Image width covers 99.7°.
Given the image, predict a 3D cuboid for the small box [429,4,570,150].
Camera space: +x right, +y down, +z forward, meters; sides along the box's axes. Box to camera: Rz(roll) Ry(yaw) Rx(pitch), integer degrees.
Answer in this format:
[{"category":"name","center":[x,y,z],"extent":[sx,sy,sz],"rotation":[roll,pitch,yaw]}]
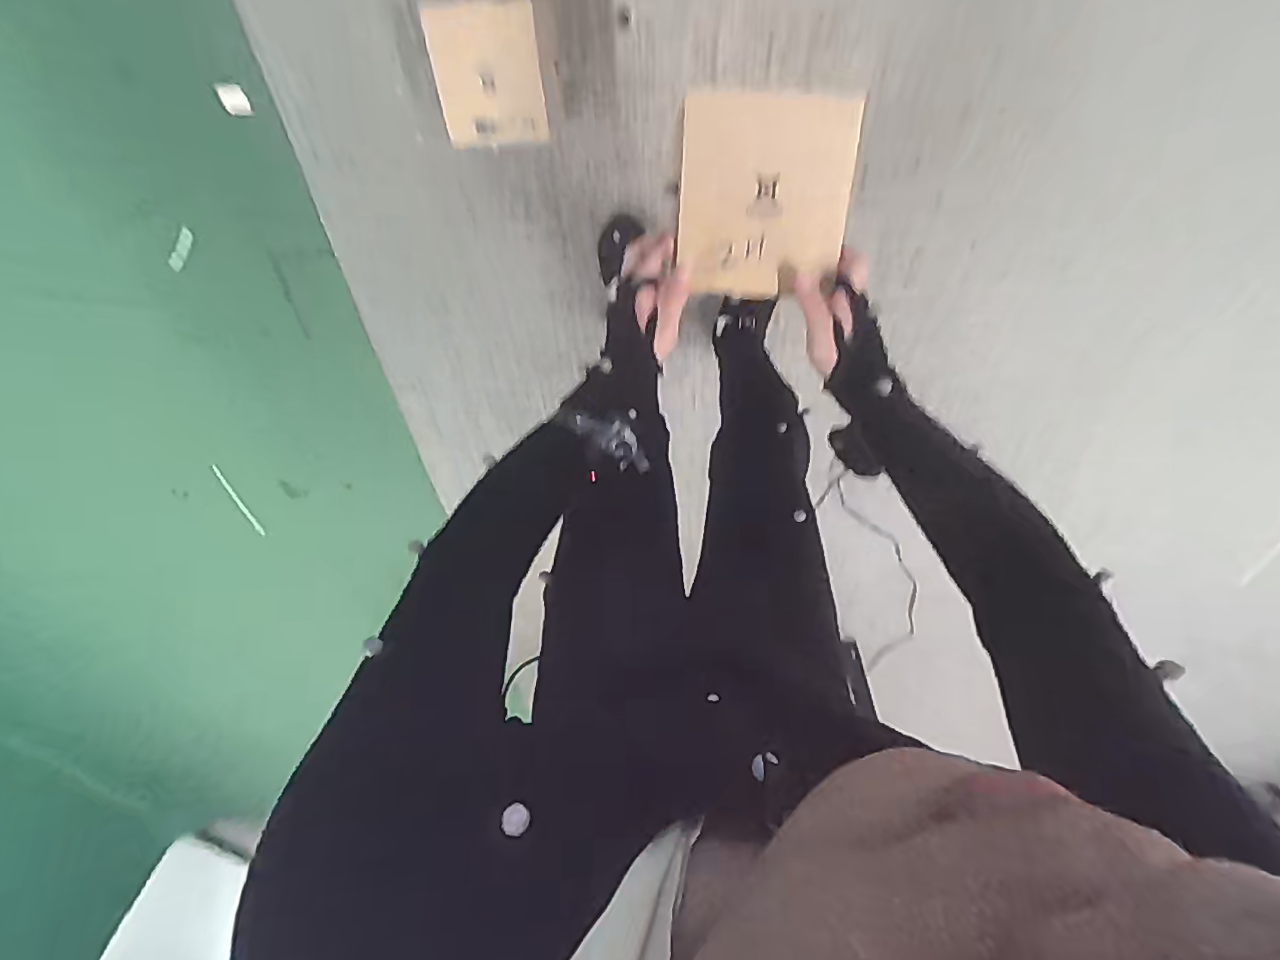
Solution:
[{"category":"small box","center":[-0.217,-0.658,0.888],"extent":[0.168,0.176,0.179],"rotation":[0,130,5]}]
